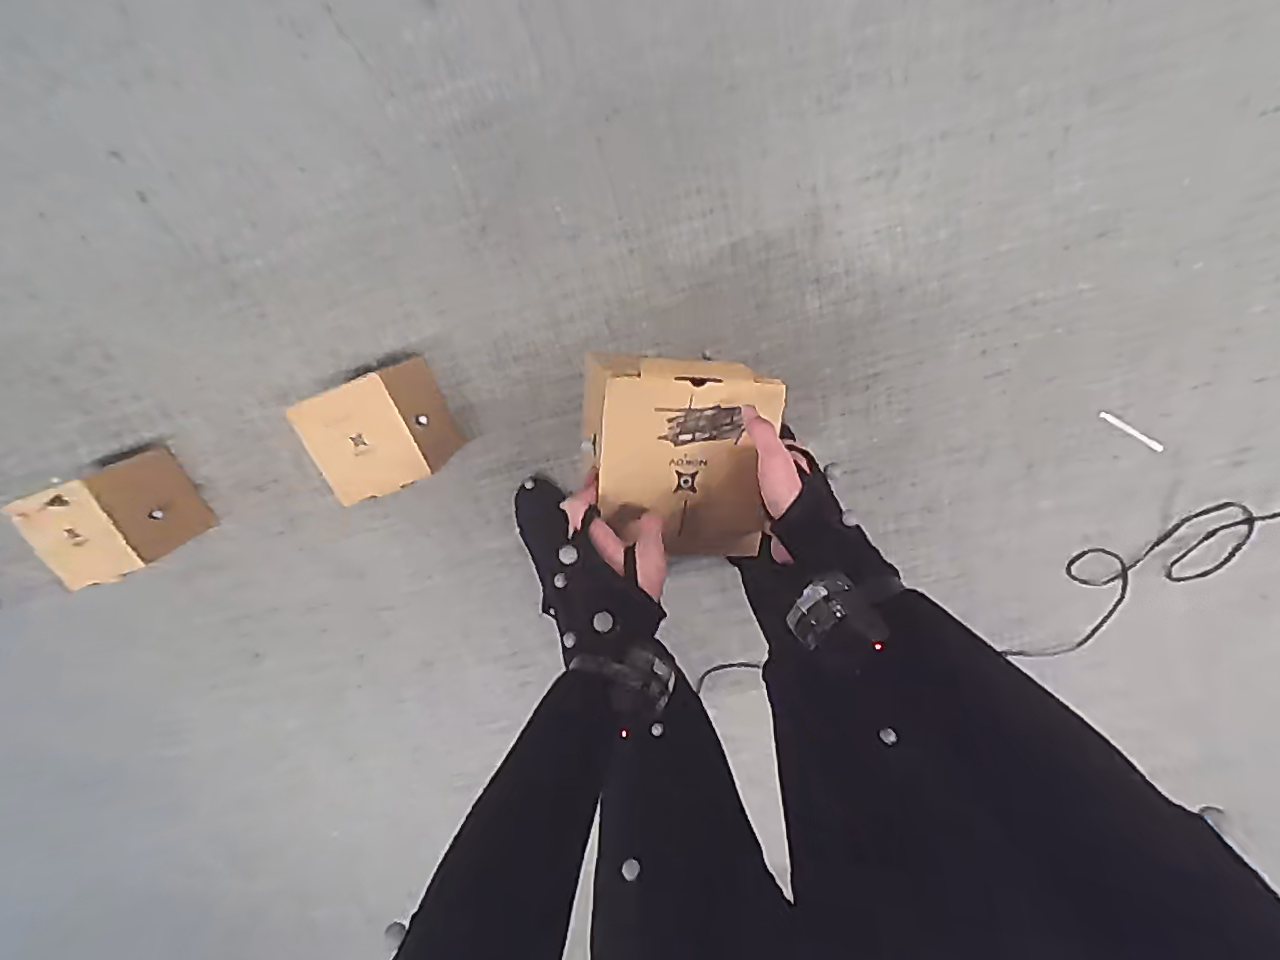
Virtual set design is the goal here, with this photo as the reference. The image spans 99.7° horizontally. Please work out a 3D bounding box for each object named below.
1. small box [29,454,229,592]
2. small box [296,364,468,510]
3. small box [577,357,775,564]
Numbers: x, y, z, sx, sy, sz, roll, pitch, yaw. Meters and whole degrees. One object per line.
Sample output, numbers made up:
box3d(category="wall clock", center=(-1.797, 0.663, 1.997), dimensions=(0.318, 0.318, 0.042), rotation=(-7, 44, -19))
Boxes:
box3d(category="small box", center=(-0.932, 0.075, 1.008), dimensions=(0.168, 0.176, 0.179), rotation=(-18, 110, 10))
box3d(category="small box", center=(-0.420, -0.079, 0.917), dimensions=(0.168, 0.176, 0.179), rotation=(-19, 108, 10))
box3d(category="small box", center=(0.021, -0.031, 0.562), dimensions=(0.168, 0.176, 0.179), rotation=(0, 110, -10))
